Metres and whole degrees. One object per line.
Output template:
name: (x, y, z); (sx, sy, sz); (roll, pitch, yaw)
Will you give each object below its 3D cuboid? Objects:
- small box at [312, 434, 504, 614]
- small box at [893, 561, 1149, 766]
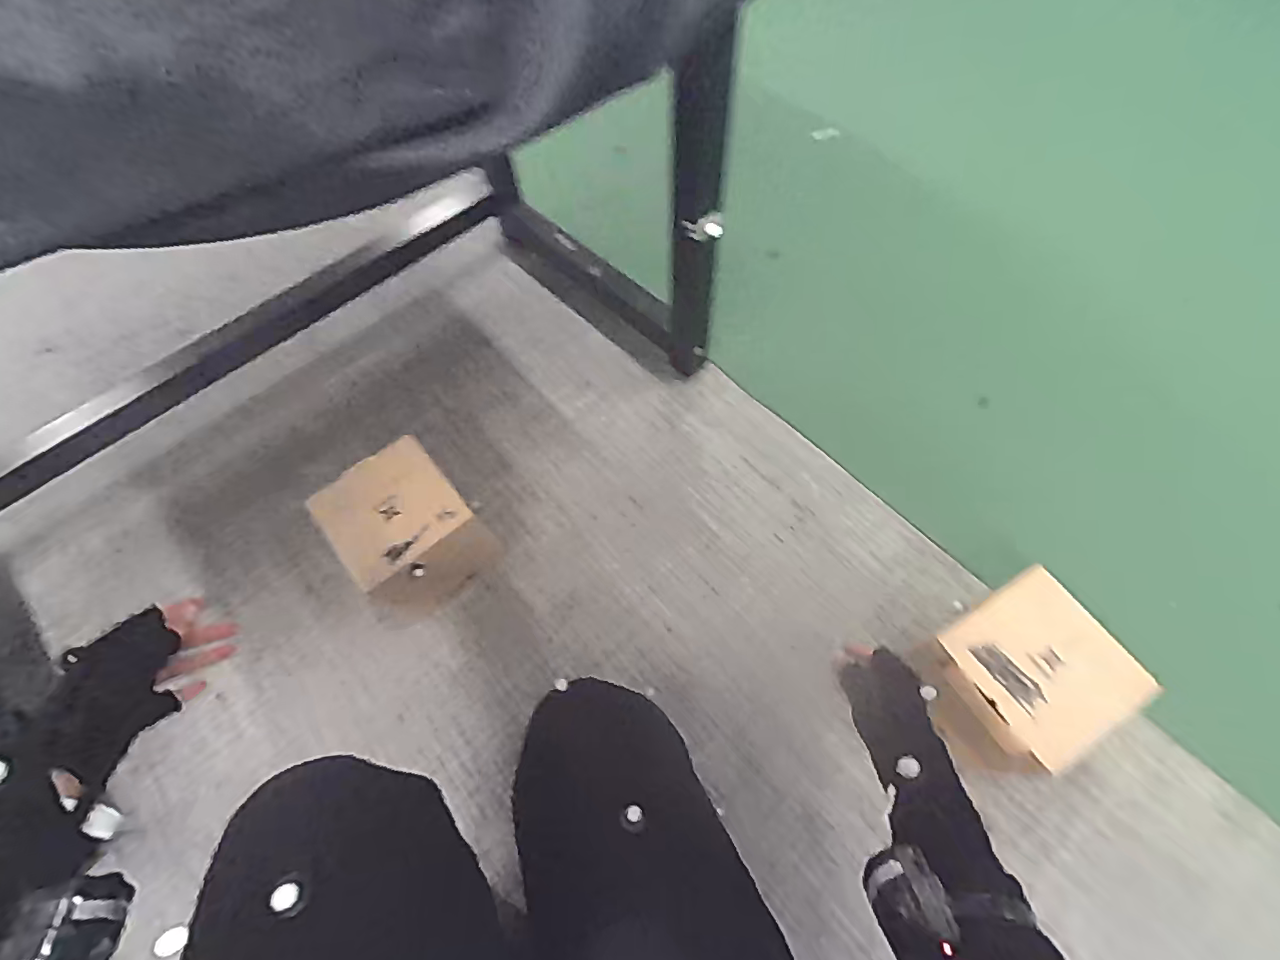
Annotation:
small box: (-0.333, 0.072, 0.802); (0.168, 0.176, 0.179); (-39, 67, -14)
small box: (0.450, 0.235, 0.680); (0.179, 0.176, 0.168); (-29, 66, -12)
